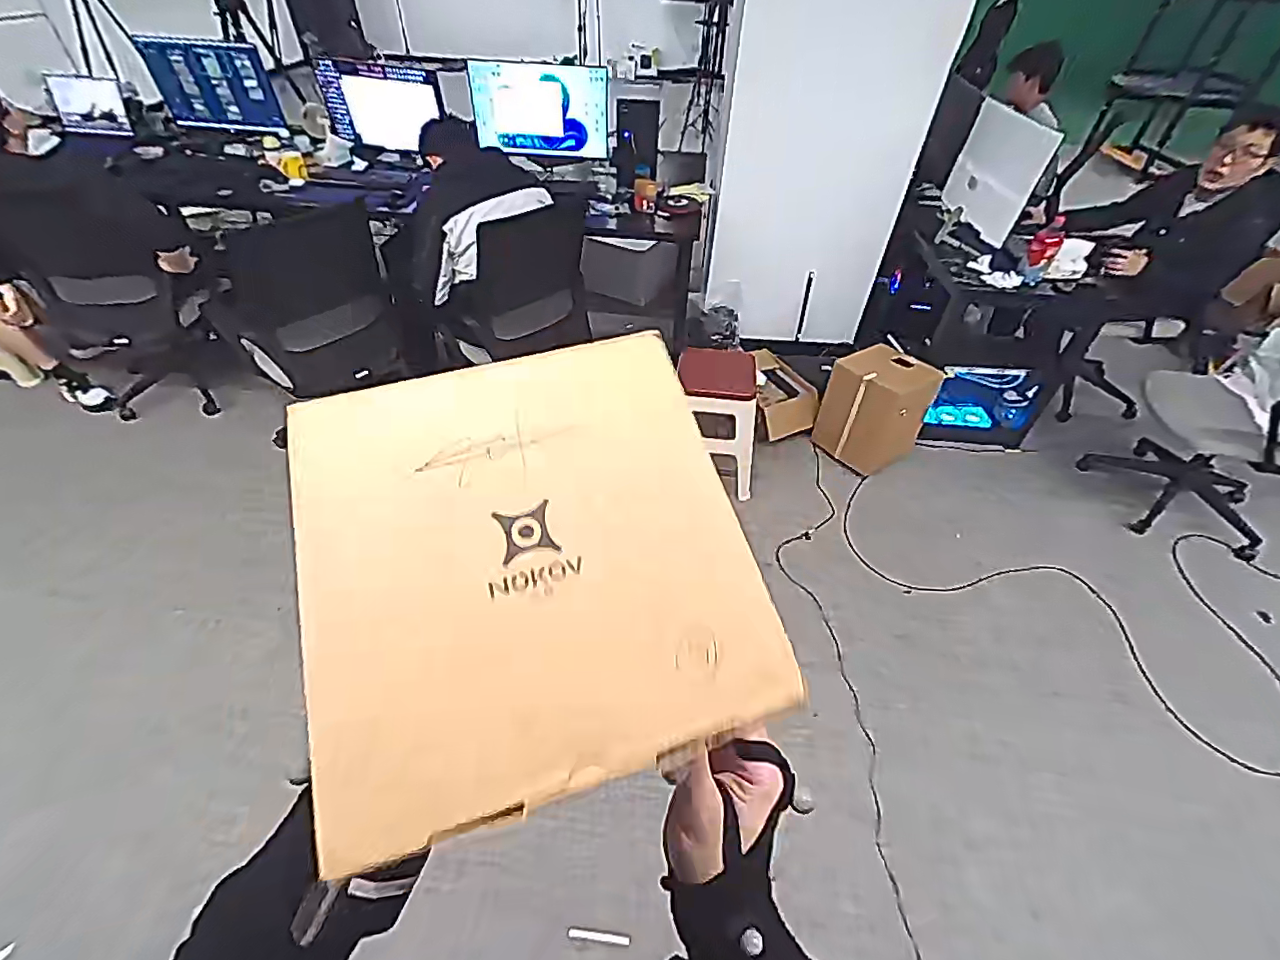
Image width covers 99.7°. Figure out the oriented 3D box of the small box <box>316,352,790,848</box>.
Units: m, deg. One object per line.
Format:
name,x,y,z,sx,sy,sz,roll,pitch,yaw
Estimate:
small box,-0.049,0.064,0.297,0.168,0.176,0.179,-15,63,-14
